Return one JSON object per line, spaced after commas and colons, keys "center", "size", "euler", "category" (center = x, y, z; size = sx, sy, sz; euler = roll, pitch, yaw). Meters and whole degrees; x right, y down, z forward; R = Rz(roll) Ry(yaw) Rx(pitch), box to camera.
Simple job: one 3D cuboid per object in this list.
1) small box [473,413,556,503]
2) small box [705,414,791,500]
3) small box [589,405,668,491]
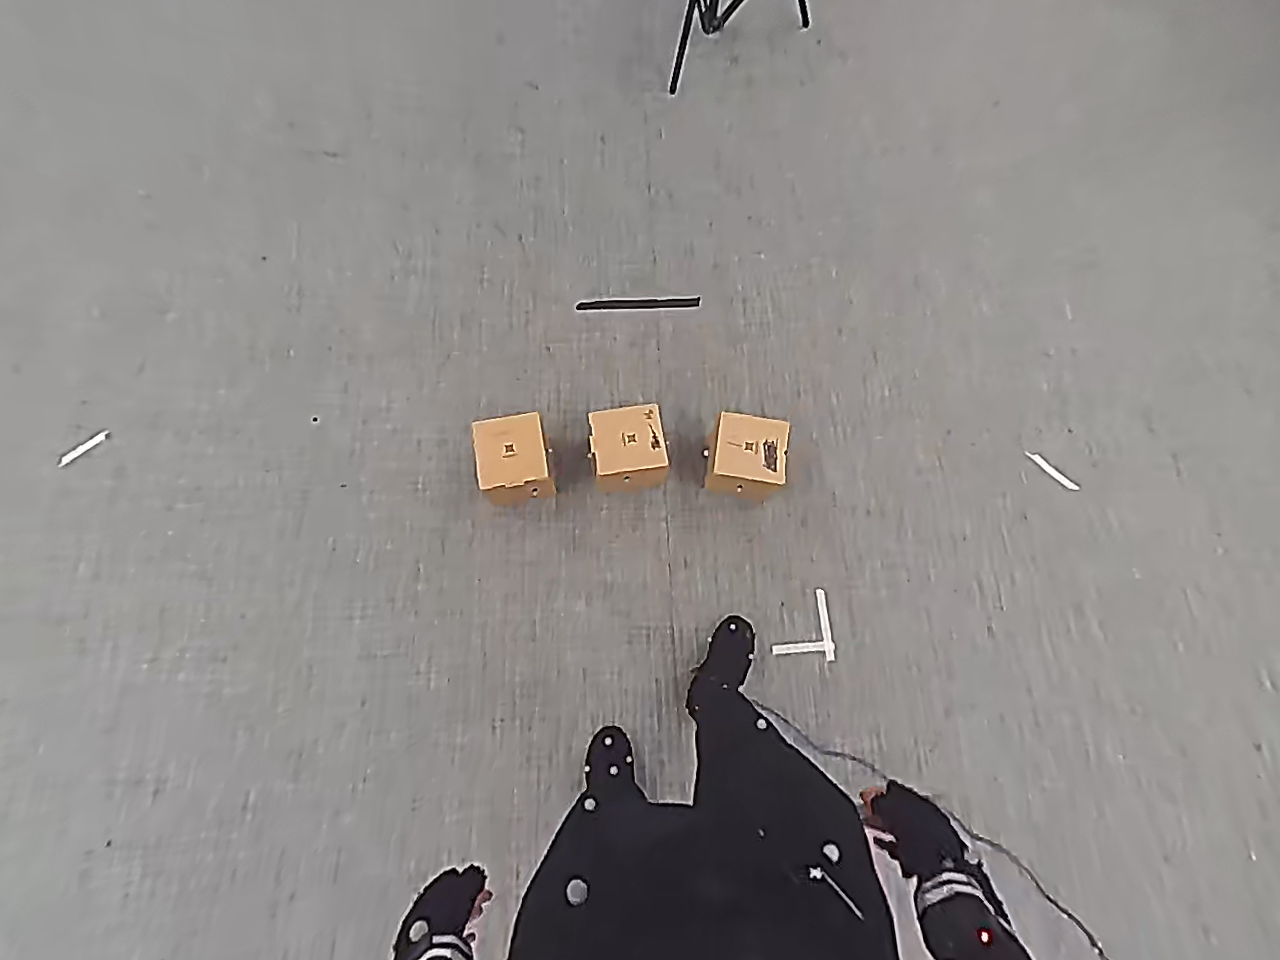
{"center": [-0.312, -0.047, 1.370], "size": [0.168, 0.176, 0.179], "euler": [-10, 74, -6], "category": "small box"}
{"center": [0.273, -0.052, 1.390], "size": [0.179, 0.176, 0.168], "euler": [9, 74, 2], "category": "small box"}
{"center": [-0.029, -0.076, 1.386], "size": [0.179, 0.176, 0.168], "euler": [-9, 75, -4], "category": "small box"}
